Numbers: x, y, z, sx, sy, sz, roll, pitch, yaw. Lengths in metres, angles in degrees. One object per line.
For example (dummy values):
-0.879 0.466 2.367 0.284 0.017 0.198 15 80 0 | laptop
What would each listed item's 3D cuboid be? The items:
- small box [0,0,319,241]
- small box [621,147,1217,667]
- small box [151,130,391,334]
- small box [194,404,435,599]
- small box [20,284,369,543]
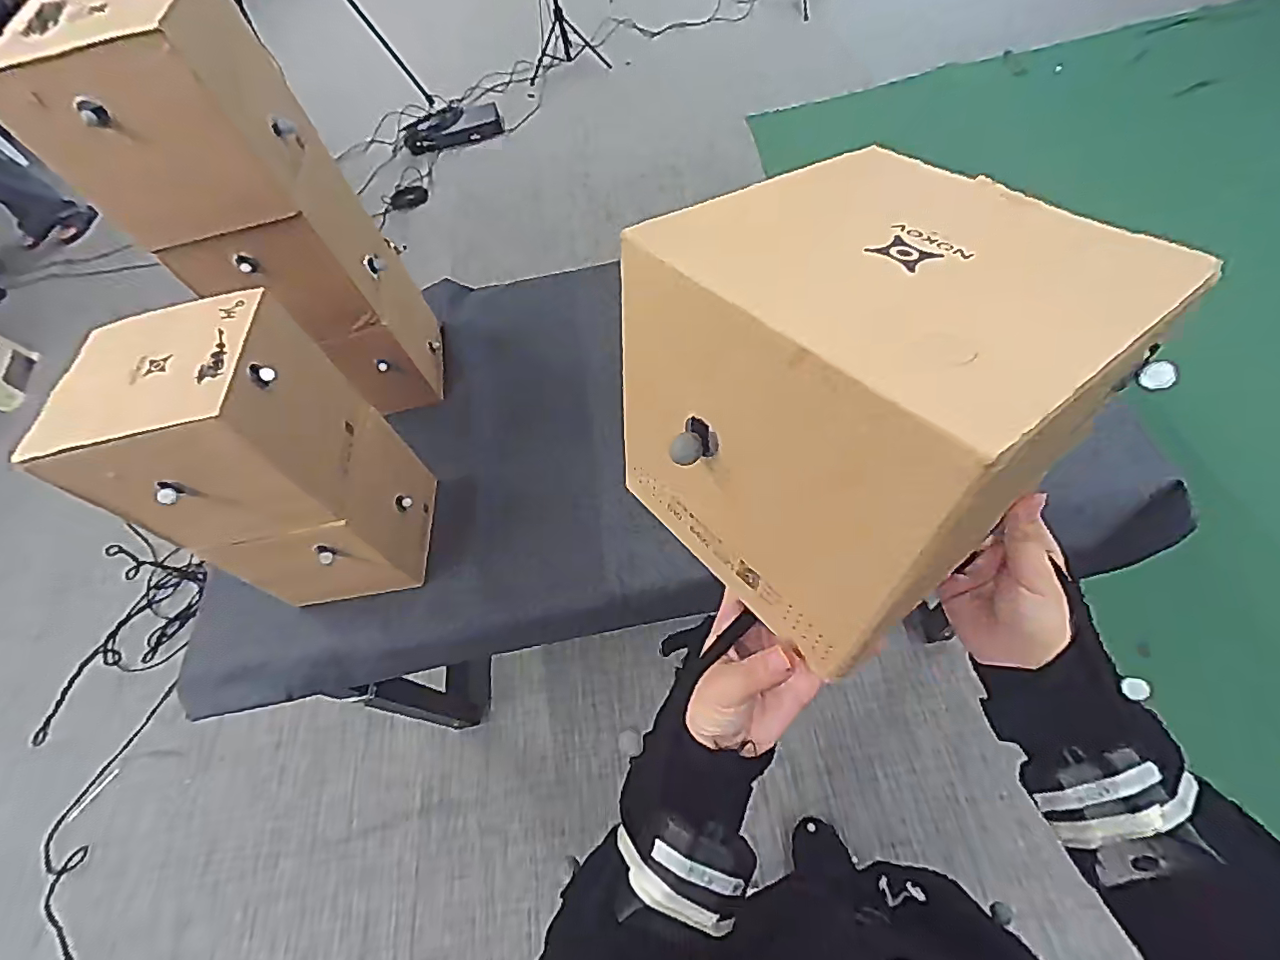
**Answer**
-0.464 -0.369 0.539 0.179 0.176 0.168 -12 61 2 | small box
0.109 -0.040 0.277 0.179 0.176 0.168 -31 56 -25 | small box
-0.445 -0.297 0.685 0.179 0.176 0.168 -14 61 0 | small box
-0.375 0.033 0.666 0.179 0.176 0.168 -10 56 5 | small box
-0.405 -0.055 0.532 0.179 0.176 0.168 -13 57 3 | small box
